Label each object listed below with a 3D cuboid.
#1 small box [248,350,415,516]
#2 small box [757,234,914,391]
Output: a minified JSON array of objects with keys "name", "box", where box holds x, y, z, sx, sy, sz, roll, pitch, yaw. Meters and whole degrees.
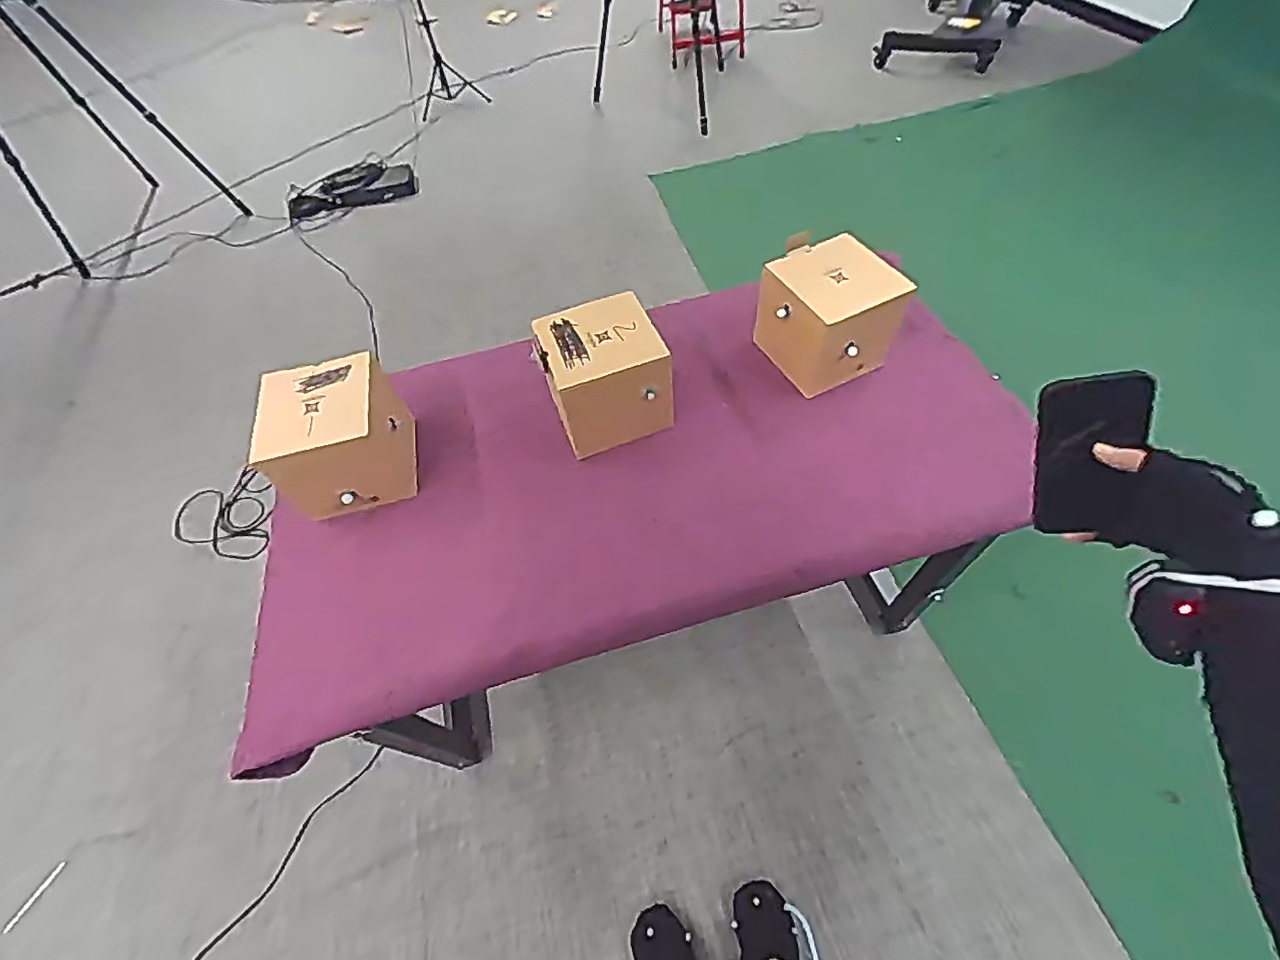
[{"name":"small box","box":[-0.468,-0.070,0.850,0.168,0.176,0.179,-14,58,-4]},{"name":"small box","box":[0.317,-0.275,0.918,0.168,0.176,0.179,-24,57,-10]}]
